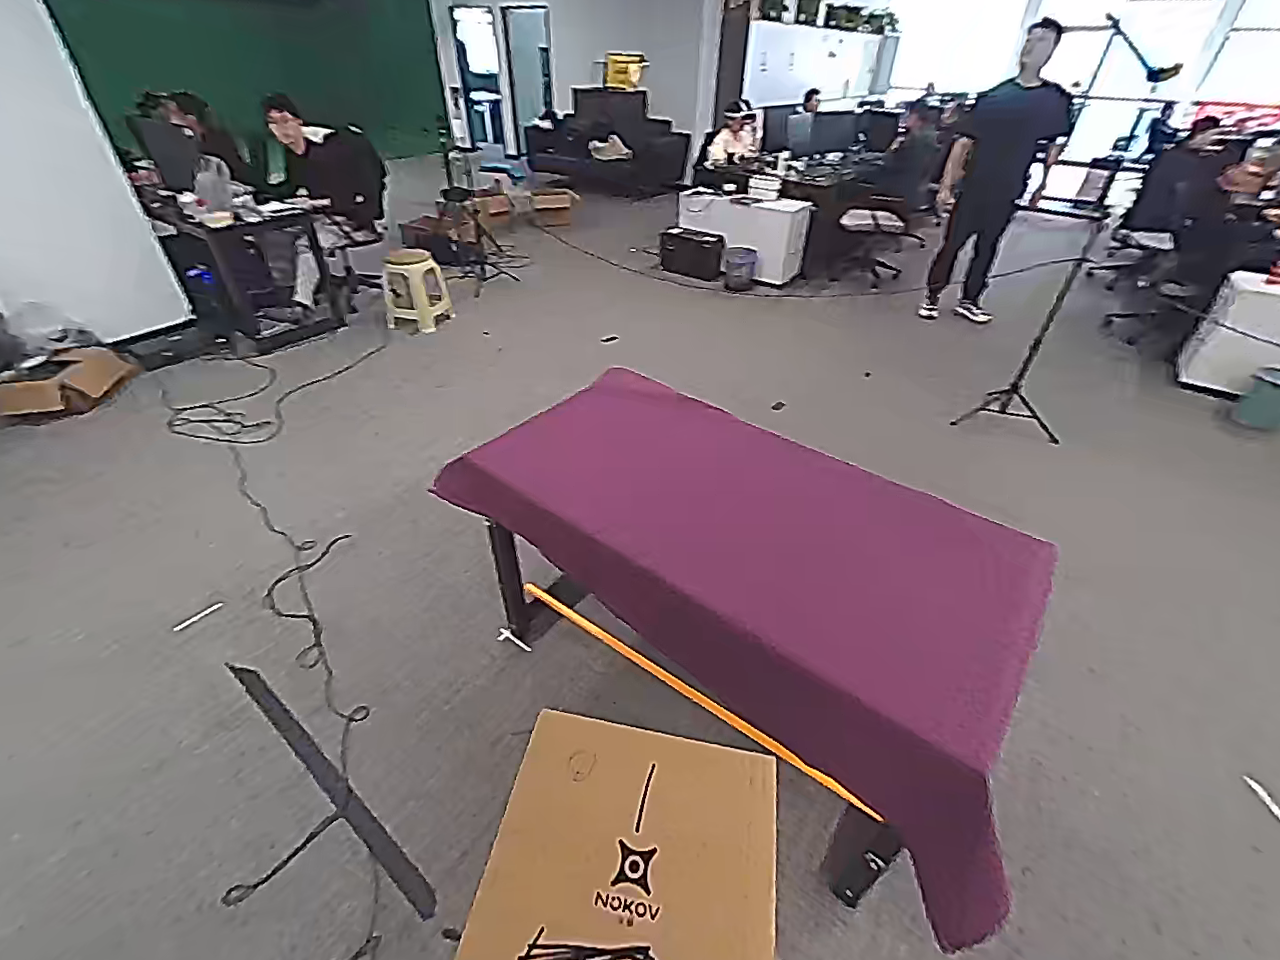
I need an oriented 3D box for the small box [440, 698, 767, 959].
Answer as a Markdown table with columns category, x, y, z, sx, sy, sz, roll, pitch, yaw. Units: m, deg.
| category | x | y | z | sx | sy | sz | roll | pitch | yaw |
| --- | --- | --- | --- | --- | --- | --- | --- | --- | --- |
| small box | -0.014 | 0.282 | 0.365 | 0.168 | 0.176 | 0.179 | 9 | 43 | 7 |
